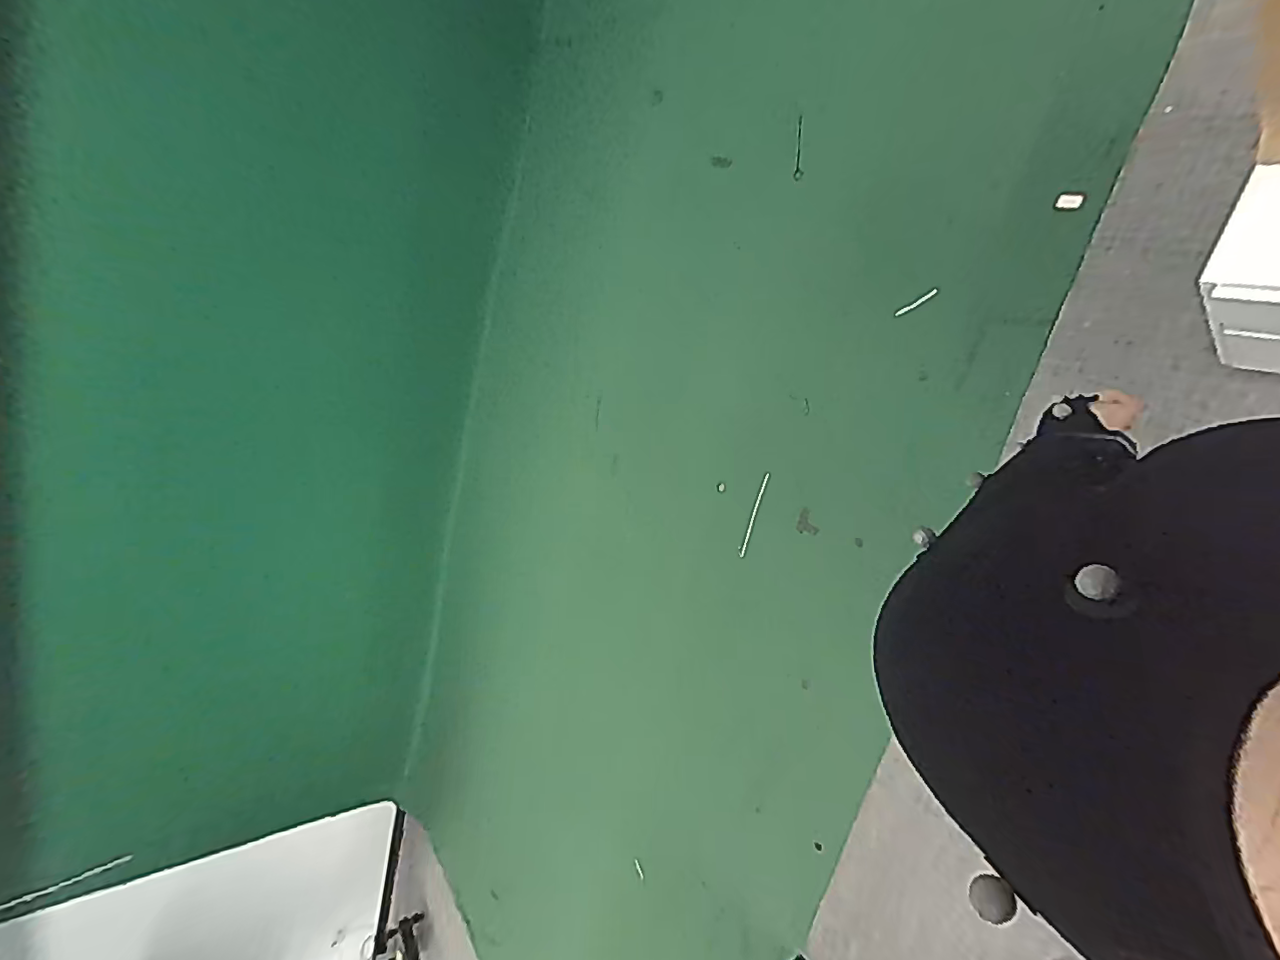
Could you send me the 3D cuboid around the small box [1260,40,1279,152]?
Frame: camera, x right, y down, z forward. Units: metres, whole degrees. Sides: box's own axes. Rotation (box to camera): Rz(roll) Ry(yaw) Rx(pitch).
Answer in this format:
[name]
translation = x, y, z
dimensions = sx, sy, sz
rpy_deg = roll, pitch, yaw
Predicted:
[small box]
translation = 0.745, -0.432, 0.507
dimensions = 0.179, 0.176, 0.168
rpy_deg = 29, 110, 46
